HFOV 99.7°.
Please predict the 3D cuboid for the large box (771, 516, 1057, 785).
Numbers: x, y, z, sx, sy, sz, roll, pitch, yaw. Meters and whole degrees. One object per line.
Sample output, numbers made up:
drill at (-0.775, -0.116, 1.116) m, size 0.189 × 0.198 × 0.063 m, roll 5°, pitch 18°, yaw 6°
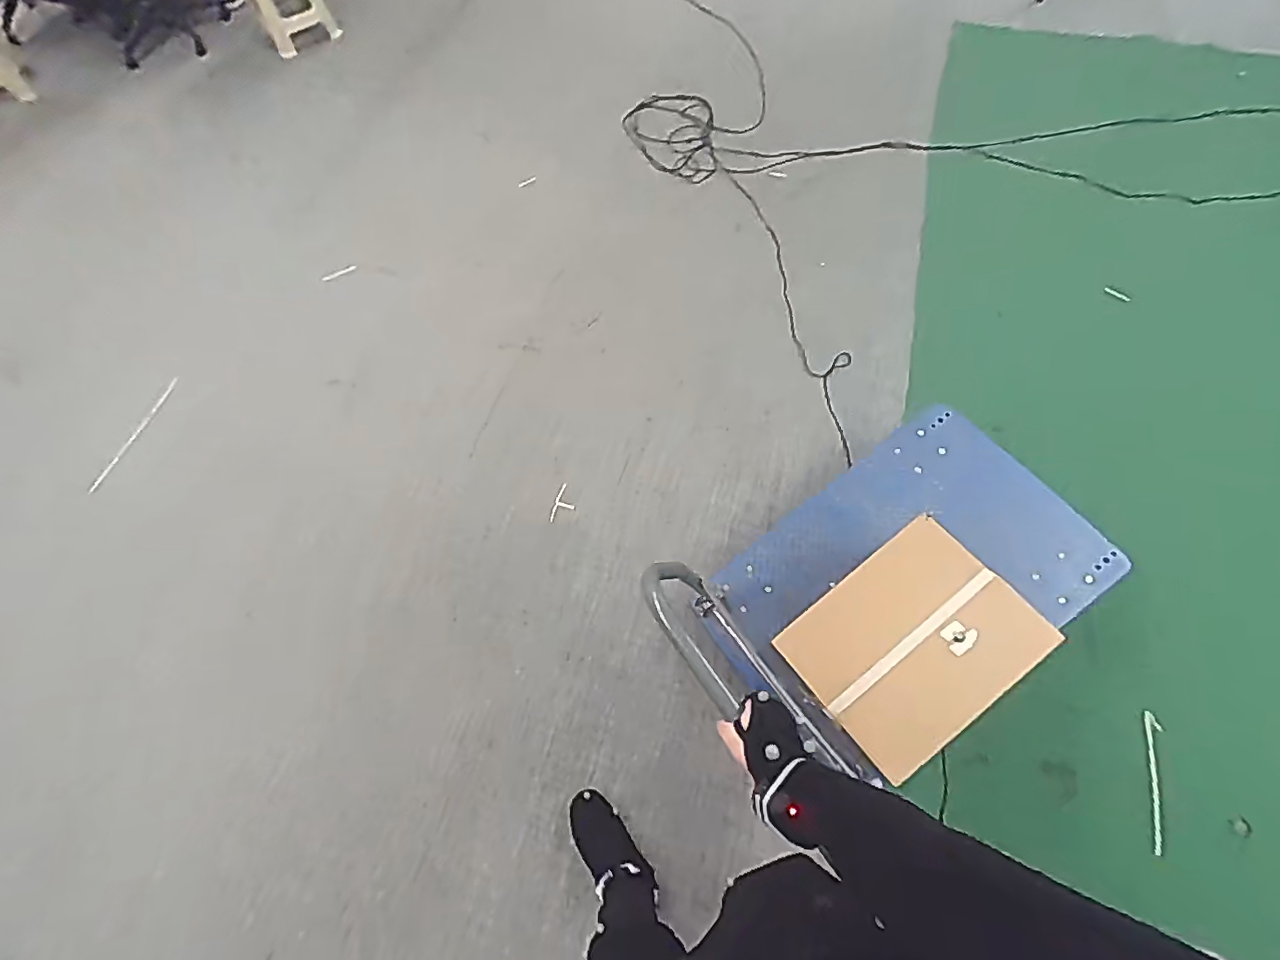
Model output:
large box at (0.528, 0.353, 1.135) m, size 0.408 × 0.320 × 0.320 m, roll -38°, pitch 67°, yaw -4°
